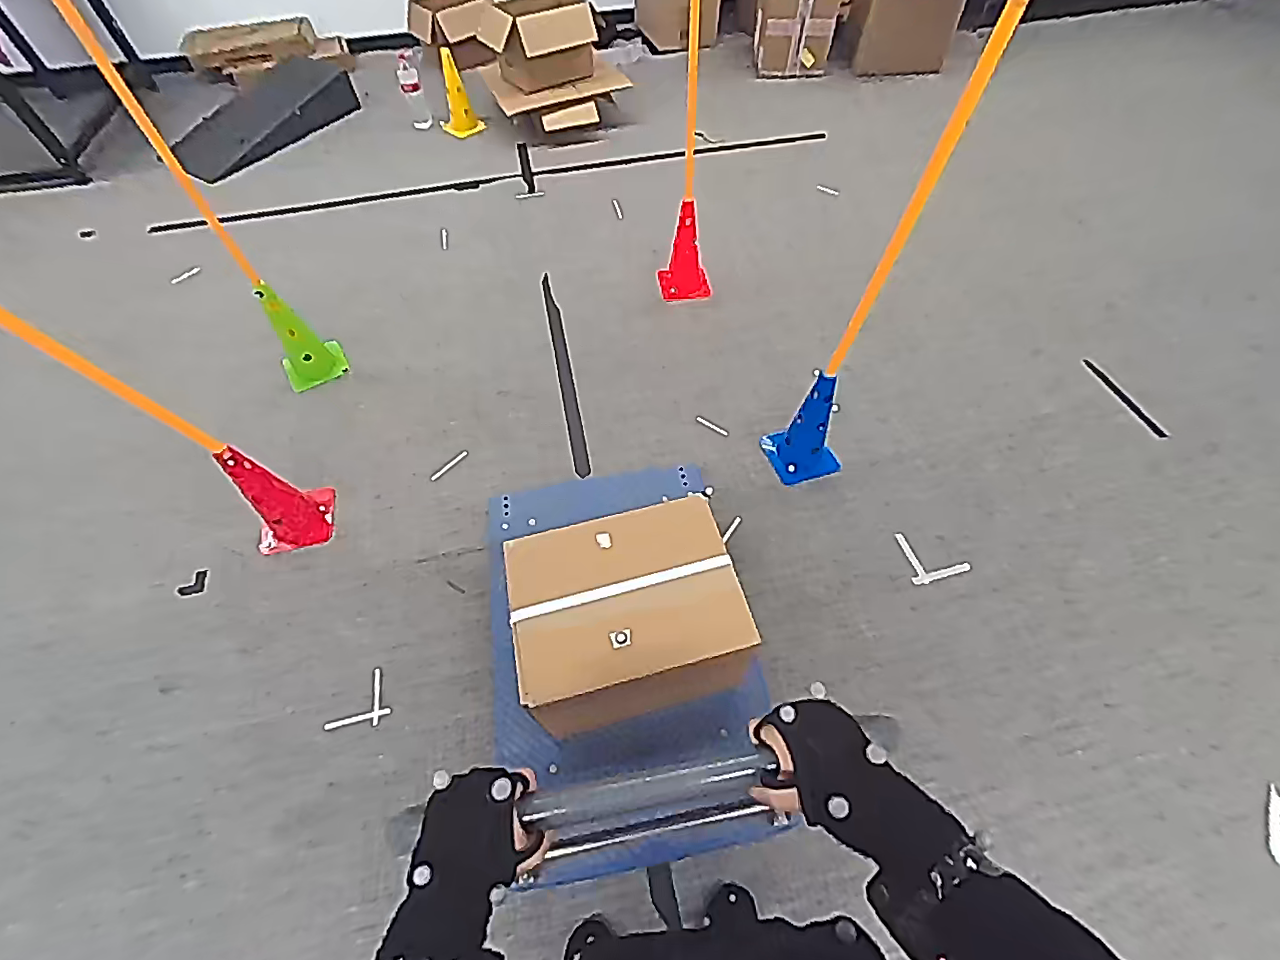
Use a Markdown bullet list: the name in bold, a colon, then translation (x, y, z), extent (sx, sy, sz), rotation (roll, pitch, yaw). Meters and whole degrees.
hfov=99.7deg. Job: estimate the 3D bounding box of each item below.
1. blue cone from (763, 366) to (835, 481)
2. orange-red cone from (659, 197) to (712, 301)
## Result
- **blue cone**: translation (0.504, -0.178, 1.588), extent (0.193, 0.380, 0.192), rotation (-14, 56, -9)
- **orange-red cone**: translation (0.182, -0.892, 2.054), extent (0.199, 0.360, 0.198), rotation (-5, 57, -3)
